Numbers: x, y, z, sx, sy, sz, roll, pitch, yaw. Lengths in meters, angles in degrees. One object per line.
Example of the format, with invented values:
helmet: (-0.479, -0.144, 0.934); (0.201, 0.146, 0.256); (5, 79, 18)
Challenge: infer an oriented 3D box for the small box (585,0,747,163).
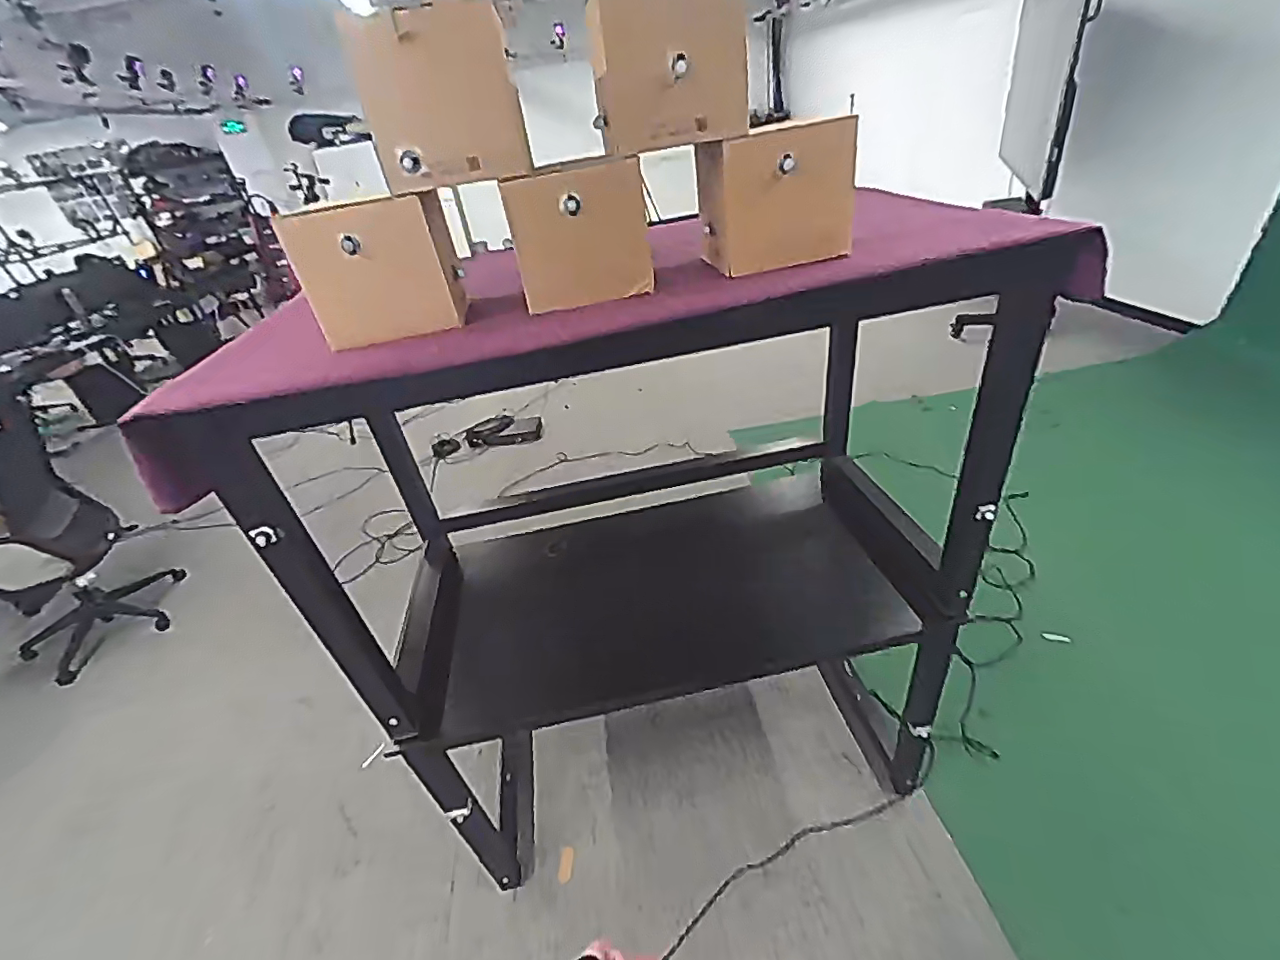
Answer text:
small box: (0.032, -0.507, 0.684); (0.168, 0.176, 0.179); (-12, 34, -3)

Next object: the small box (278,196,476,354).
small box: (-0.347, -0.288, 0.753); (0.179, 0.176, 0.168); (-13, 34, -4)

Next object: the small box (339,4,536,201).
small box: (-0.231, -0.454, 0.673); (0.168, 0.176, 0.179); (-10, 33, -1)

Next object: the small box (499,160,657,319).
small box: (-0.083, -0.337, 0.757); (0.179, 0.176, 0.168); (-11, 33, -2)

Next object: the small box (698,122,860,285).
small box: (0.189, -0.395, 0.771); (0.179, 0.176, 0.168); (-13, 33, -1)
